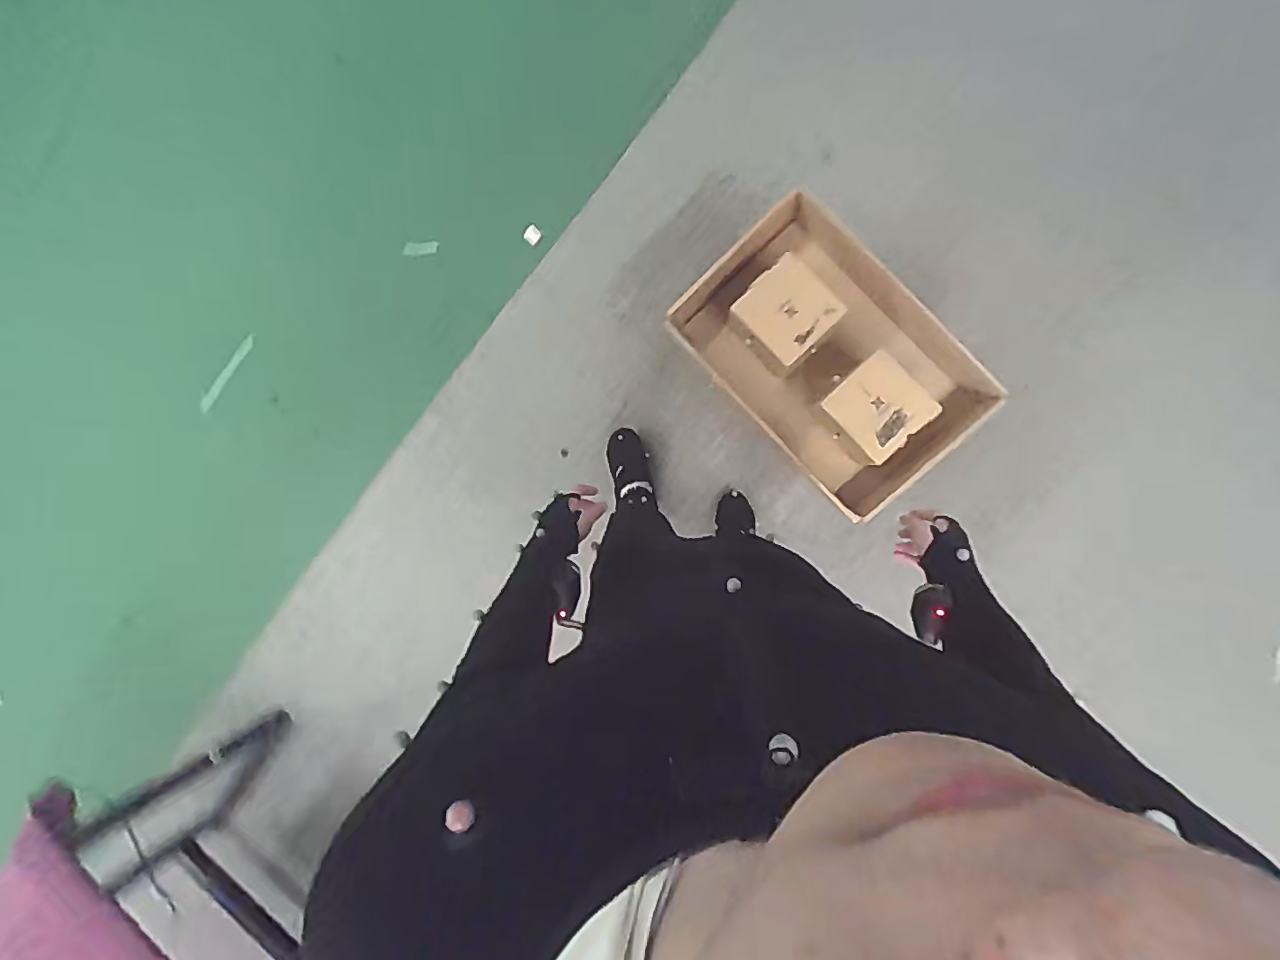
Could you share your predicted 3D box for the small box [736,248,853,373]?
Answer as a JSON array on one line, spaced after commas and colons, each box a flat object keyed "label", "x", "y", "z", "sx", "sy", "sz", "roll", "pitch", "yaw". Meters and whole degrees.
[{"label": "small box", "x": 0.322, "y": -0.354, "z": 1.170, "sx": 0.168, "sy": 0.176, "sz": 0.179, "roll": -42, "pitch": 85, "yaw": 8}]
